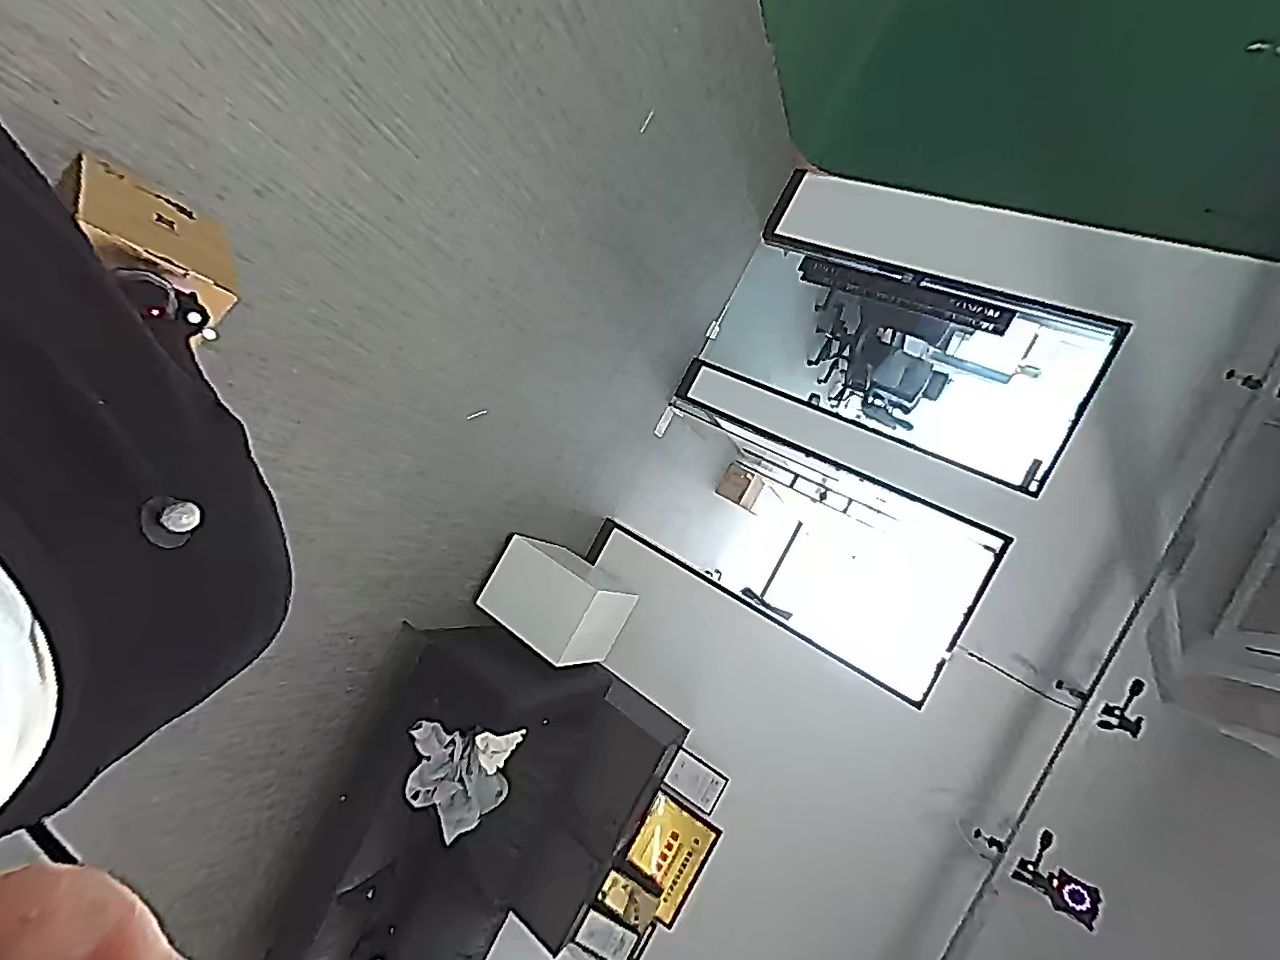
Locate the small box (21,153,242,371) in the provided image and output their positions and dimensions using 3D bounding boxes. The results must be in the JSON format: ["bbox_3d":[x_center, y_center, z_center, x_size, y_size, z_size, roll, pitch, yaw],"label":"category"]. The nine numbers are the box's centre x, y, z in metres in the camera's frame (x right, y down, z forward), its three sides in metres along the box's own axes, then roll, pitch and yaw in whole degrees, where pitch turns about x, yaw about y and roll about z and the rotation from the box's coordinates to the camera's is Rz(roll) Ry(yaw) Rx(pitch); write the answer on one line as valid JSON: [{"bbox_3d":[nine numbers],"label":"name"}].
[{"bbox_3d":[-0.680,-0.279,0.728,0.176,0.179,0.168,-39,153,16],"label":"small box"}]
